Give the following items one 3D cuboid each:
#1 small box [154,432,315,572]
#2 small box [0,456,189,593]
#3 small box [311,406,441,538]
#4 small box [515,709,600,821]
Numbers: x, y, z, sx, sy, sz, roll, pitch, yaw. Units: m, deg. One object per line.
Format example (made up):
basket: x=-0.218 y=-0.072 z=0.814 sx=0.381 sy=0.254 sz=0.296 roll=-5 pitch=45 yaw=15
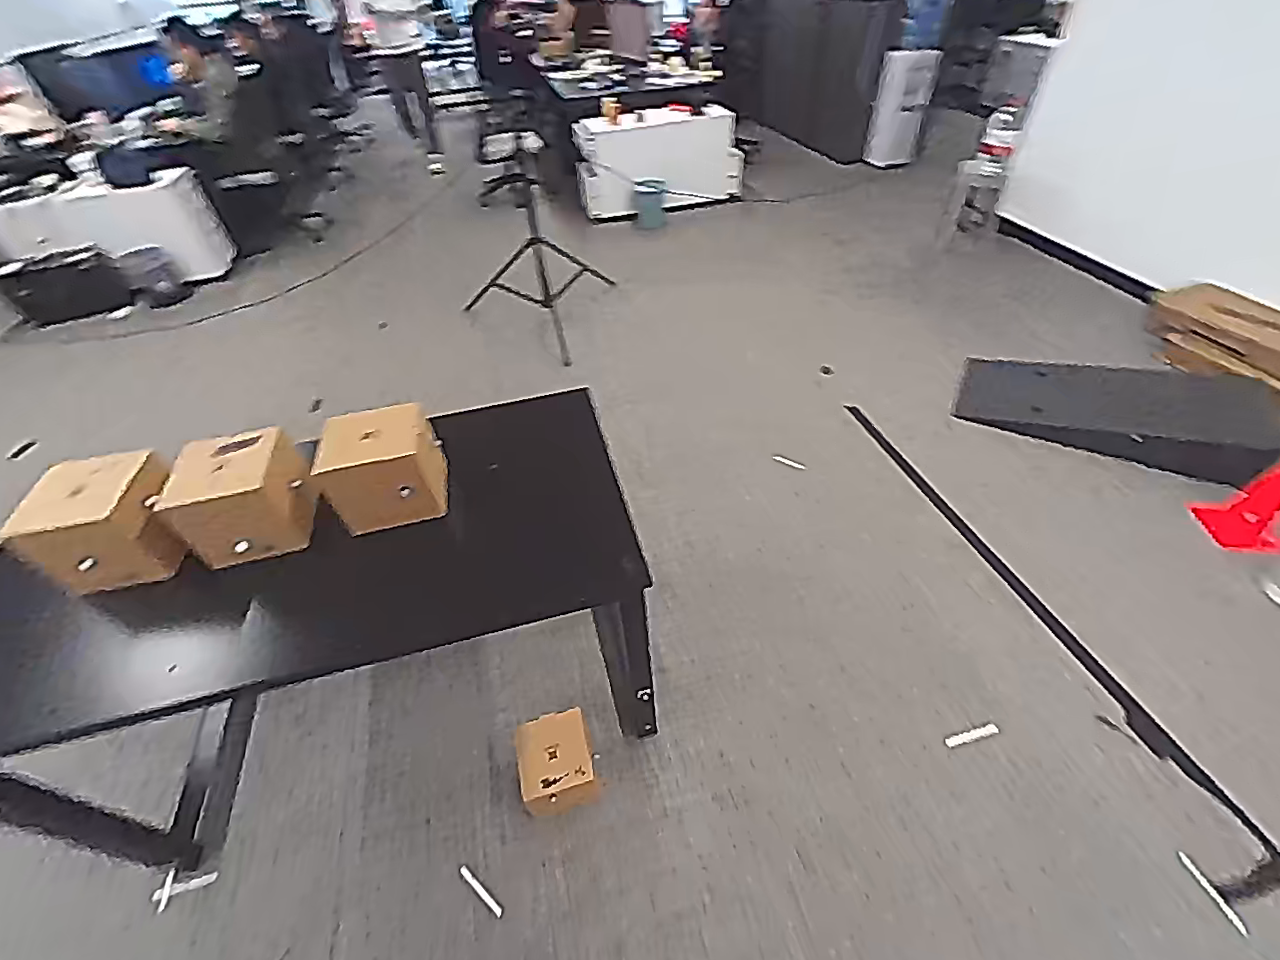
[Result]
small box: x=-0.734 y=0.040 z=1.006 sx=0.168 sy=0.176 sz=0.179 roll=-14 pitch=47 yaw=-10
small box: x=-0.951 y=0.087 z=0.976 sx=0.168 sy=0.176 sz=0.179 roll=-11 pitch=45 yaw=-7
small box: x=-0.495 y=-0.014 z=1.047 sx=0.179 sy=0.176 sz=0.168 roll=-14 pitch=44 yaw=-8
small box: x=-0.203 y=0.703 z=1.333 sx=0.168 sy=0.176 sz=0.179 roll=-14 pitch=45 yaw=-9
